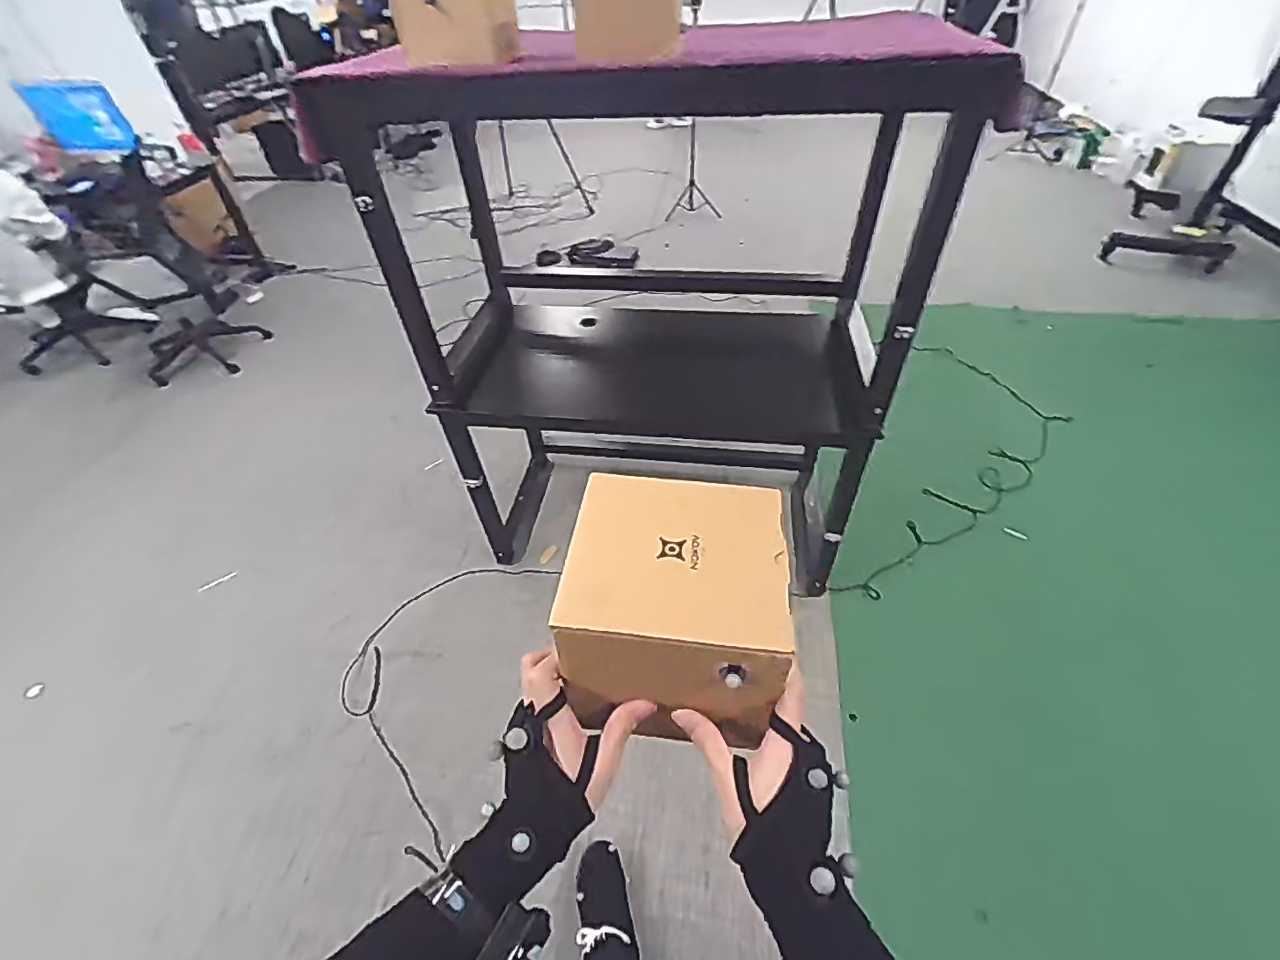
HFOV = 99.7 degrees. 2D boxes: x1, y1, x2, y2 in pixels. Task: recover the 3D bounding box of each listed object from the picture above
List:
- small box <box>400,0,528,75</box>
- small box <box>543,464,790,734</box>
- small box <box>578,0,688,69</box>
[{"bbox_3d":[-0.322,-0.852,0.982,0.179,0.176,0.168,2,44,7],"label":"small box"},{"bbox_3d":[0.026,0.106,0.483,0.179,0.176,0.168,5,42,5],"label":"small box"},{"bbox_3d":[-0.010,-0.829,0.937,0.179,0.176,0.168,4,44,7],"label":"small box"}]
